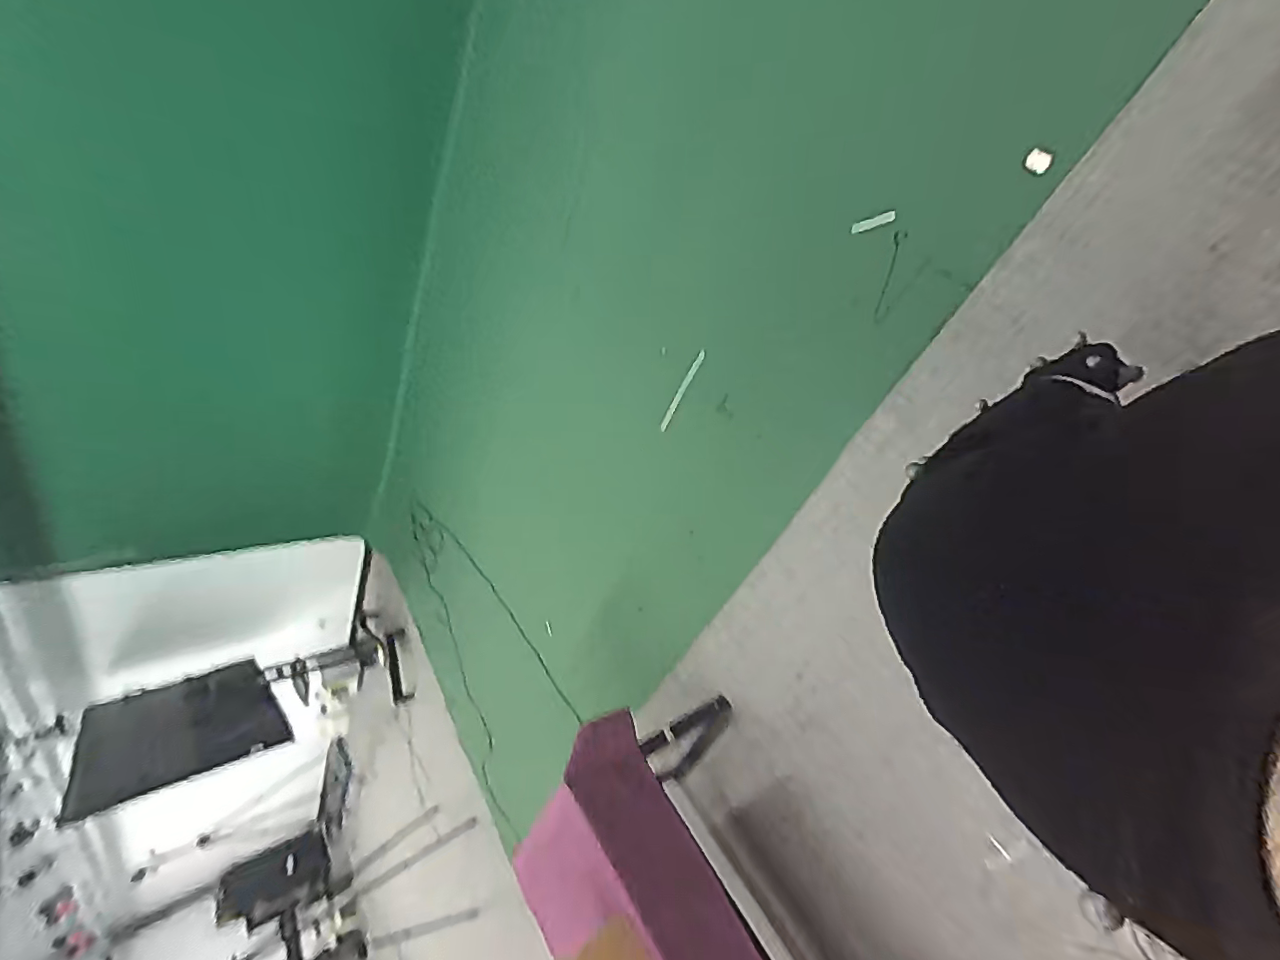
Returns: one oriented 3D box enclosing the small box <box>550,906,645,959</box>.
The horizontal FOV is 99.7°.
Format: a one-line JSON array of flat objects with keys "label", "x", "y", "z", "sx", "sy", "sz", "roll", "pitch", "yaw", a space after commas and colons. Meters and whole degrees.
[{"label": "small box", "x": -0.100, "y": 1.225, "z": 1.348, "sx": 0.179, "sy": 0.176, "sz": 0.168, "roll": 50, "pitch": 128, "yaw": 31}]
